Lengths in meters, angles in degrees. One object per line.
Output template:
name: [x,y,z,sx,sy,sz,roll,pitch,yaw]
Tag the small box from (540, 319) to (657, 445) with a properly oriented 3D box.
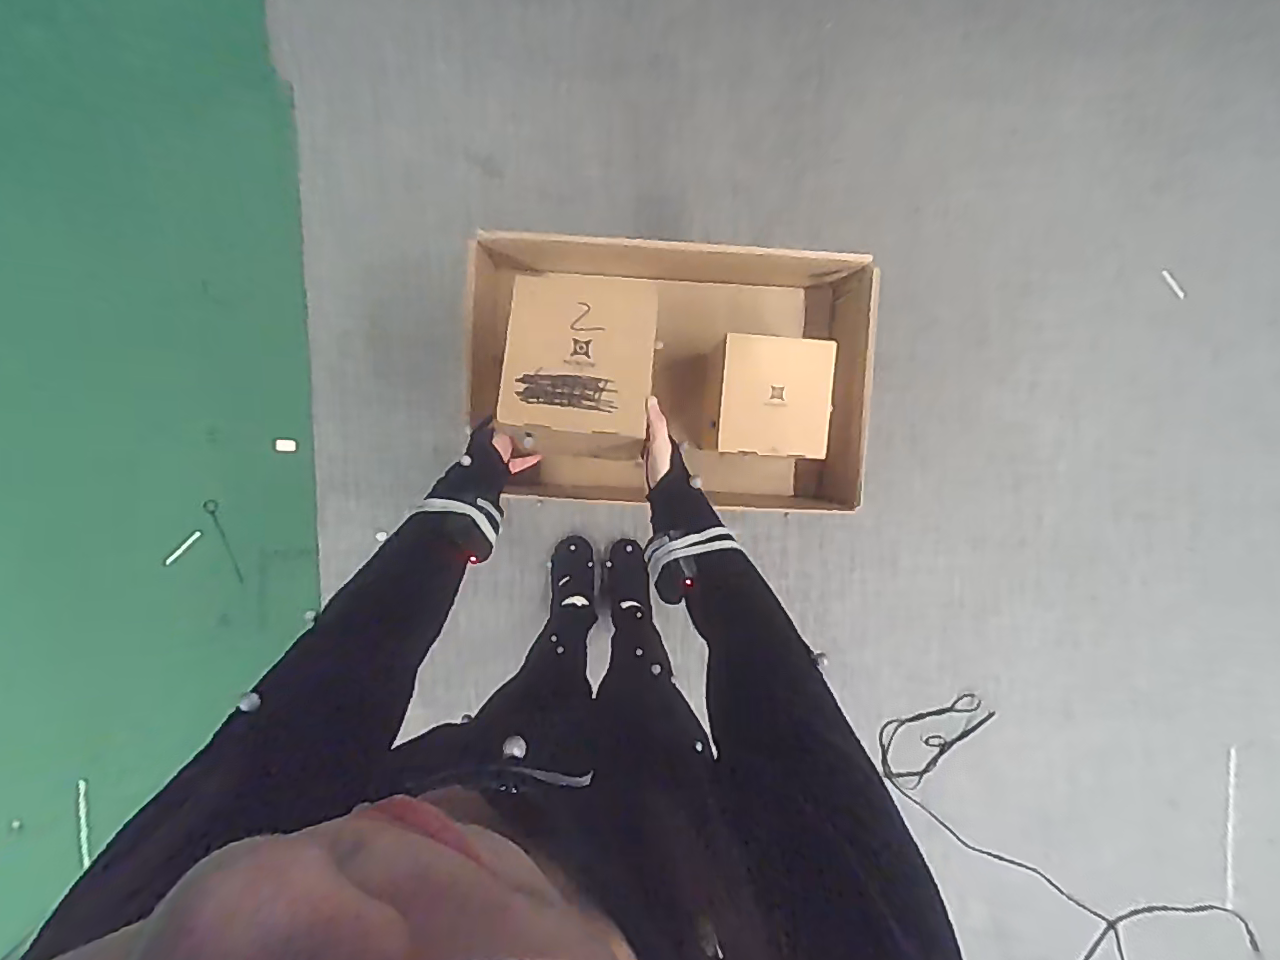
small box: [-0.064,-0.147,0.861,0.168,0.176,0.179,2,95,-1]
